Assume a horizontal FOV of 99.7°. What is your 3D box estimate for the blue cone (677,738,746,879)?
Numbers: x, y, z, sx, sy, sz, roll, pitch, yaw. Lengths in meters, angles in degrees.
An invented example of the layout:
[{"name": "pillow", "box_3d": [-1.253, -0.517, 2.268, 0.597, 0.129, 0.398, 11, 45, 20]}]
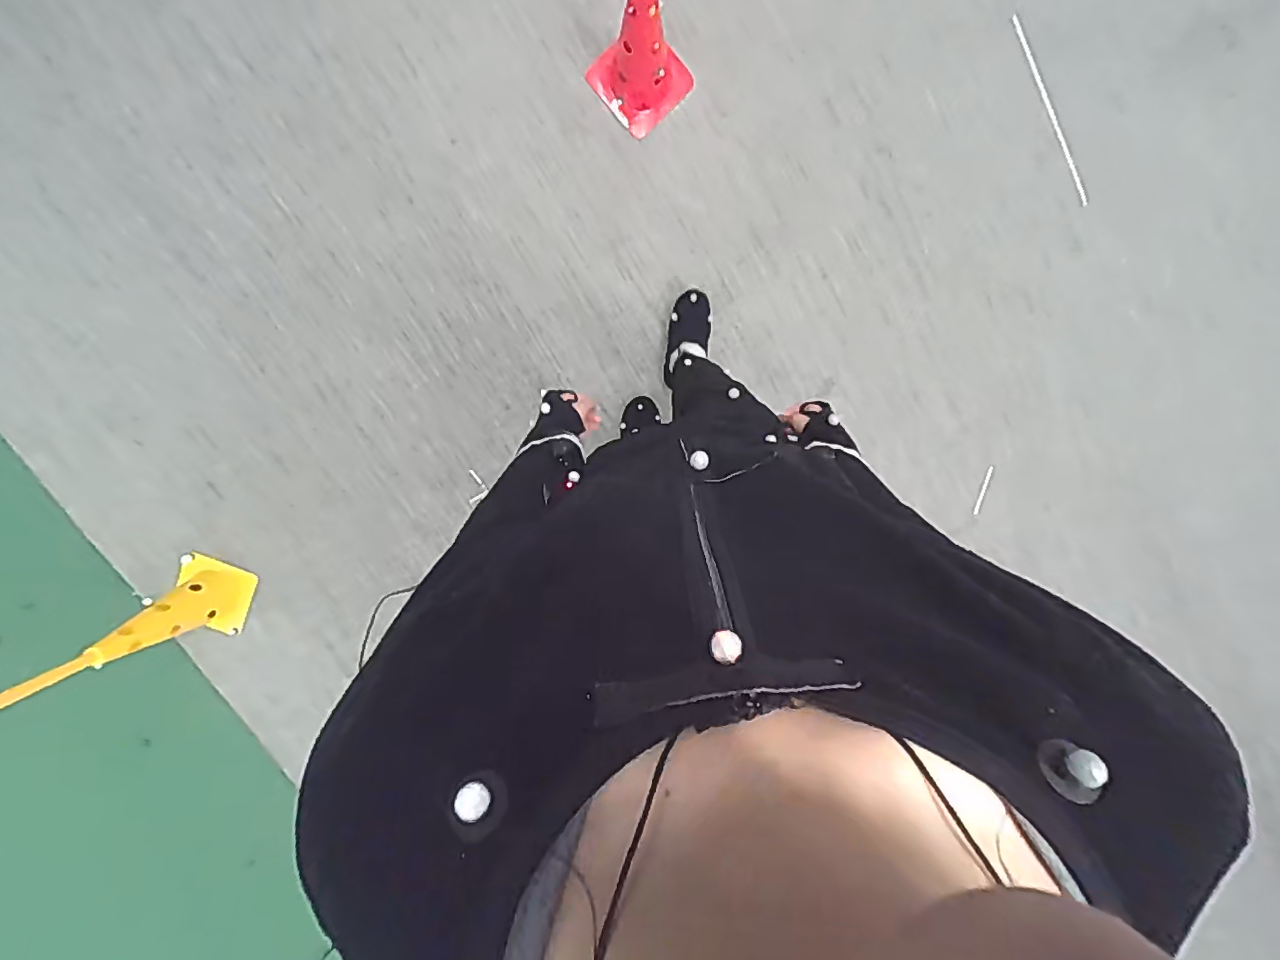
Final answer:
[{"name": "blue cone", "box_3d": [0.230, 0.910, 1.491, 0.193, 0.380, 0.192, 15, 99, -6]}]
